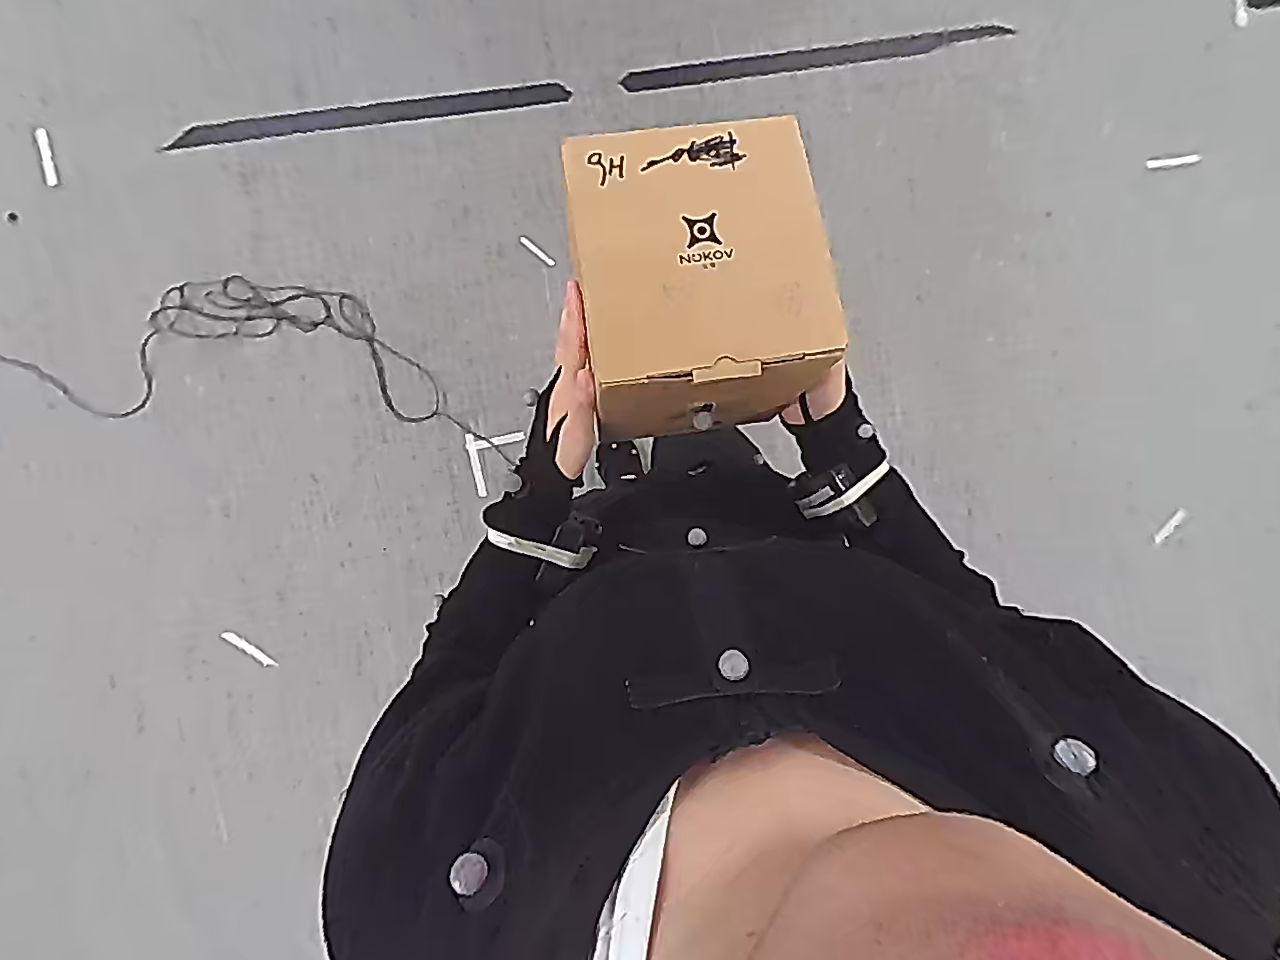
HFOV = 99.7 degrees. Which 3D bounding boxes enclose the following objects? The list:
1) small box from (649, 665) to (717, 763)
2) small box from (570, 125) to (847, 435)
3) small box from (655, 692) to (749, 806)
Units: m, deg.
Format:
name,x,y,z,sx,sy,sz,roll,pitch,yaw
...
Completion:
name,x,y,z,sx,sy,sz,roll,pitch,yaw
small box,0.126,0.624,1.456,0.179,0.176,0.168,-15,95,-3
small box,0.039,-0.139,0.433,0.168,0.176,0.179,-7,82,-6
small box,0.143,0.632,1.292,0.179,0.176,0.168,-12,94,-3
